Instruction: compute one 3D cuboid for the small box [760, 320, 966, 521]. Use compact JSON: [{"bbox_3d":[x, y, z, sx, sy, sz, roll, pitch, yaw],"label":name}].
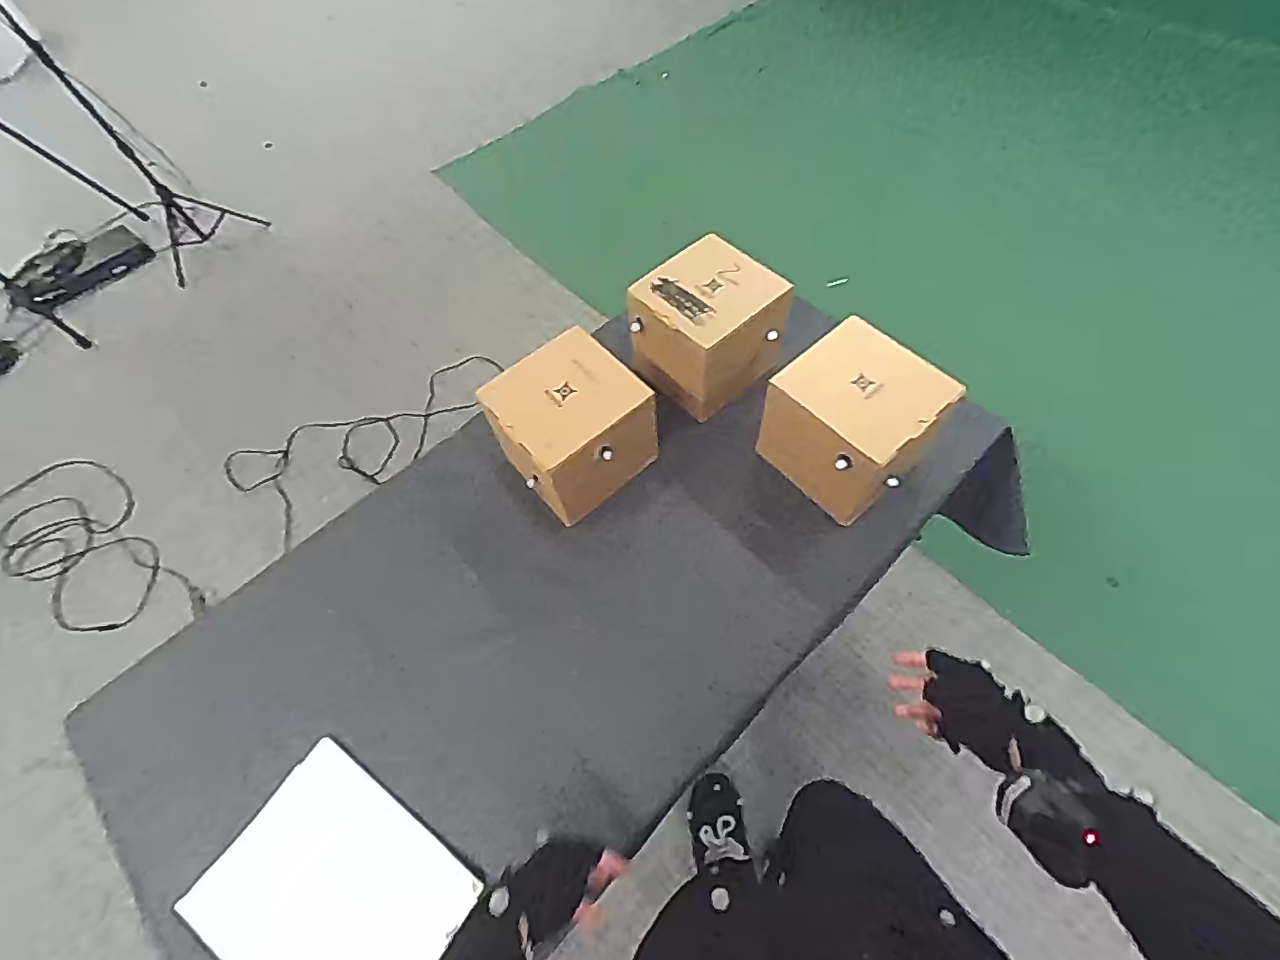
[{"bbox_3d":[0.285,-0.076,0.738,0.168,0.176,0.179,-37,65,-16],"label":"small box"}]
